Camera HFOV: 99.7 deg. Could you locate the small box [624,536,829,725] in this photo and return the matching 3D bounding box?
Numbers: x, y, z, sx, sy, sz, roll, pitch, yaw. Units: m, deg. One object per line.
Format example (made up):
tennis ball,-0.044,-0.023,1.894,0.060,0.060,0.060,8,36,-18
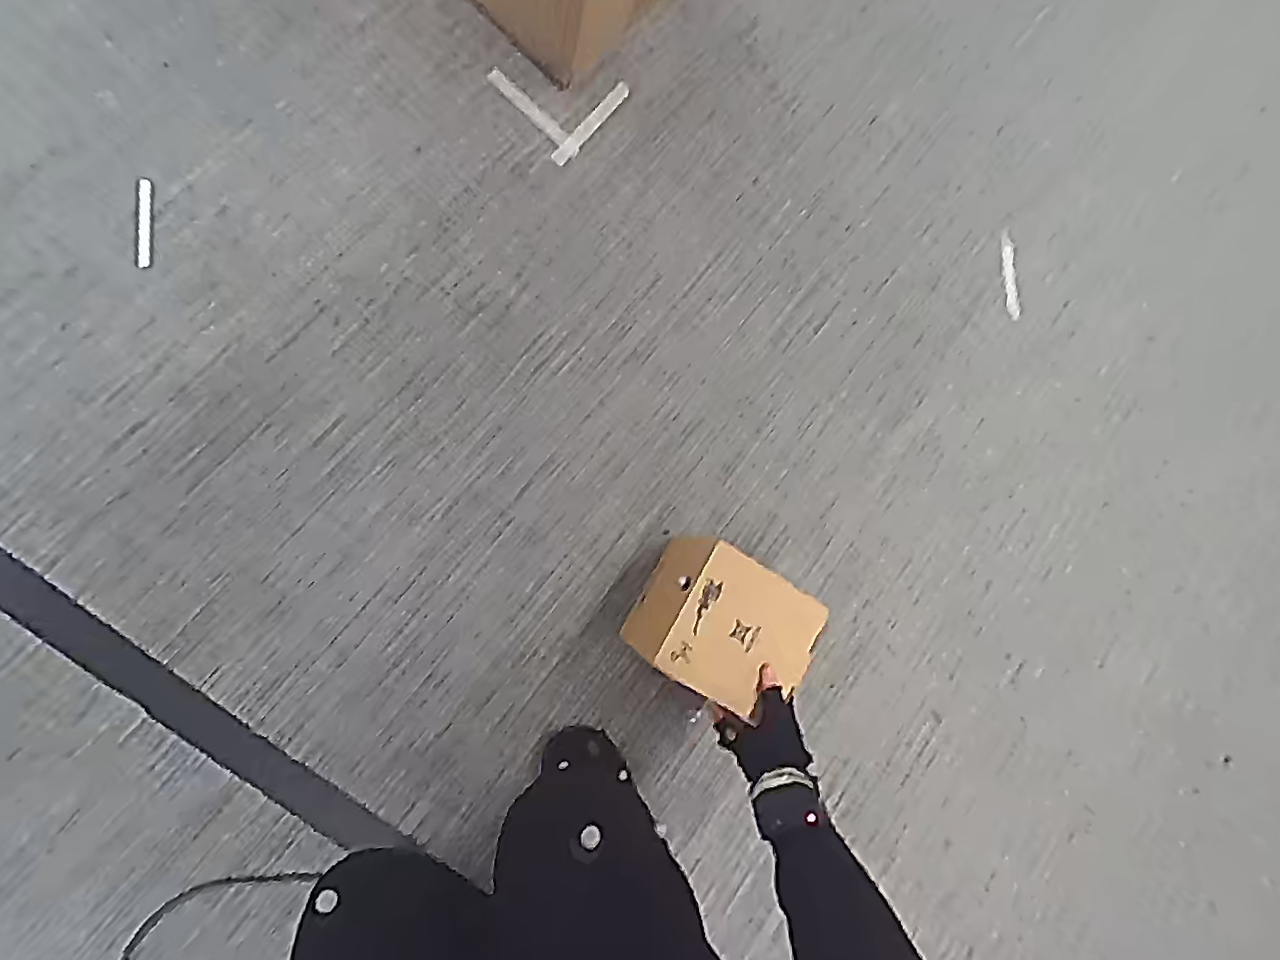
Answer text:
small box,0.103,0.182,0.713,0.179,0.176,0.168,32,79,-11
